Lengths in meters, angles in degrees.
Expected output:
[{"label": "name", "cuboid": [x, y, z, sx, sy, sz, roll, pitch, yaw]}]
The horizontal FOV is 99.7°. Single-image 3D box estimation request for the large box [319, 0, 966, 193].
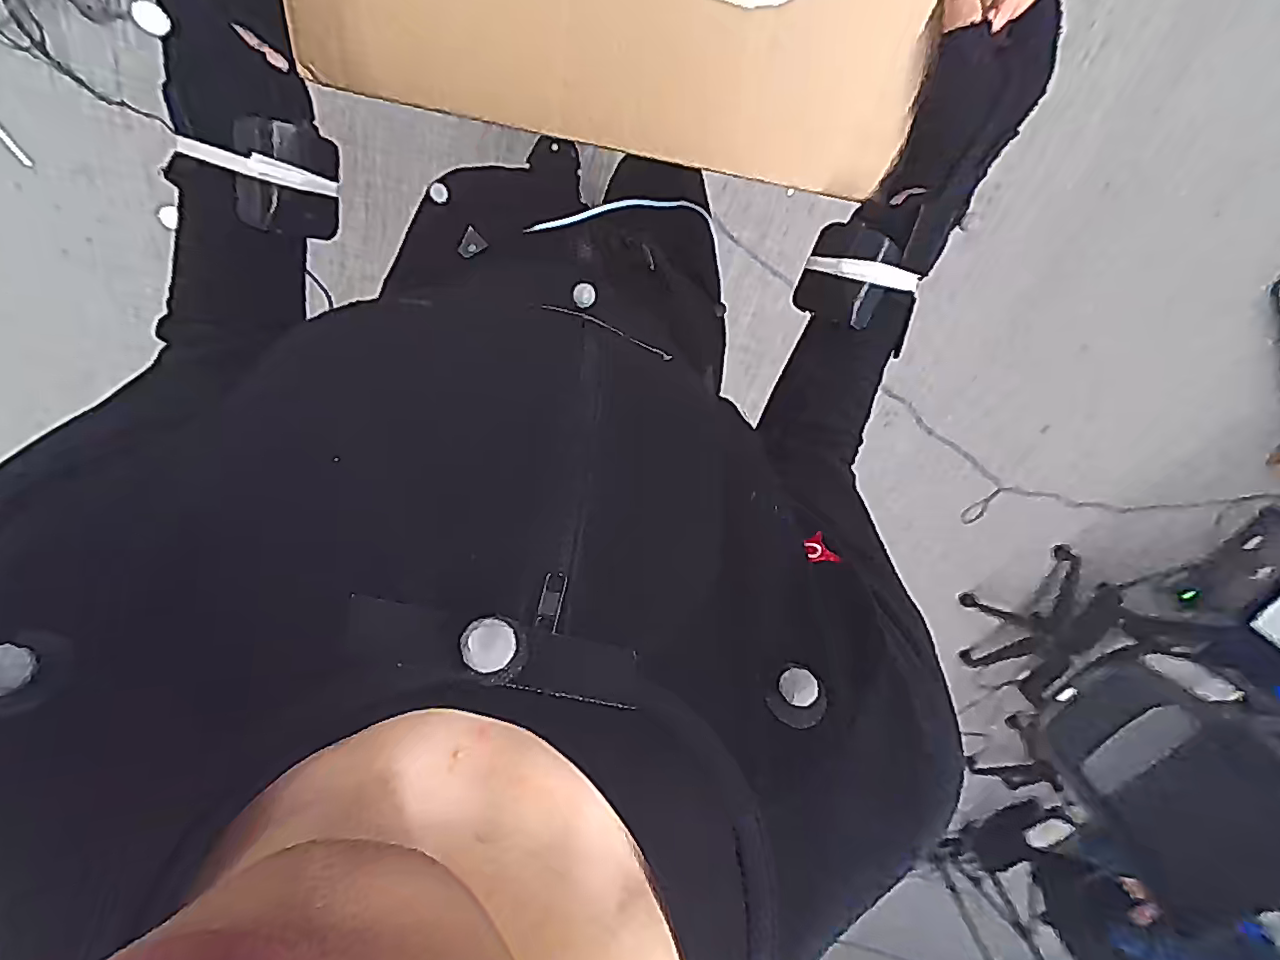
[{"label": "large box", "cuboid": [0.012, -0.447, 0.408, 0.408, 0.320, 0.320, 8, 128, -8]}]
